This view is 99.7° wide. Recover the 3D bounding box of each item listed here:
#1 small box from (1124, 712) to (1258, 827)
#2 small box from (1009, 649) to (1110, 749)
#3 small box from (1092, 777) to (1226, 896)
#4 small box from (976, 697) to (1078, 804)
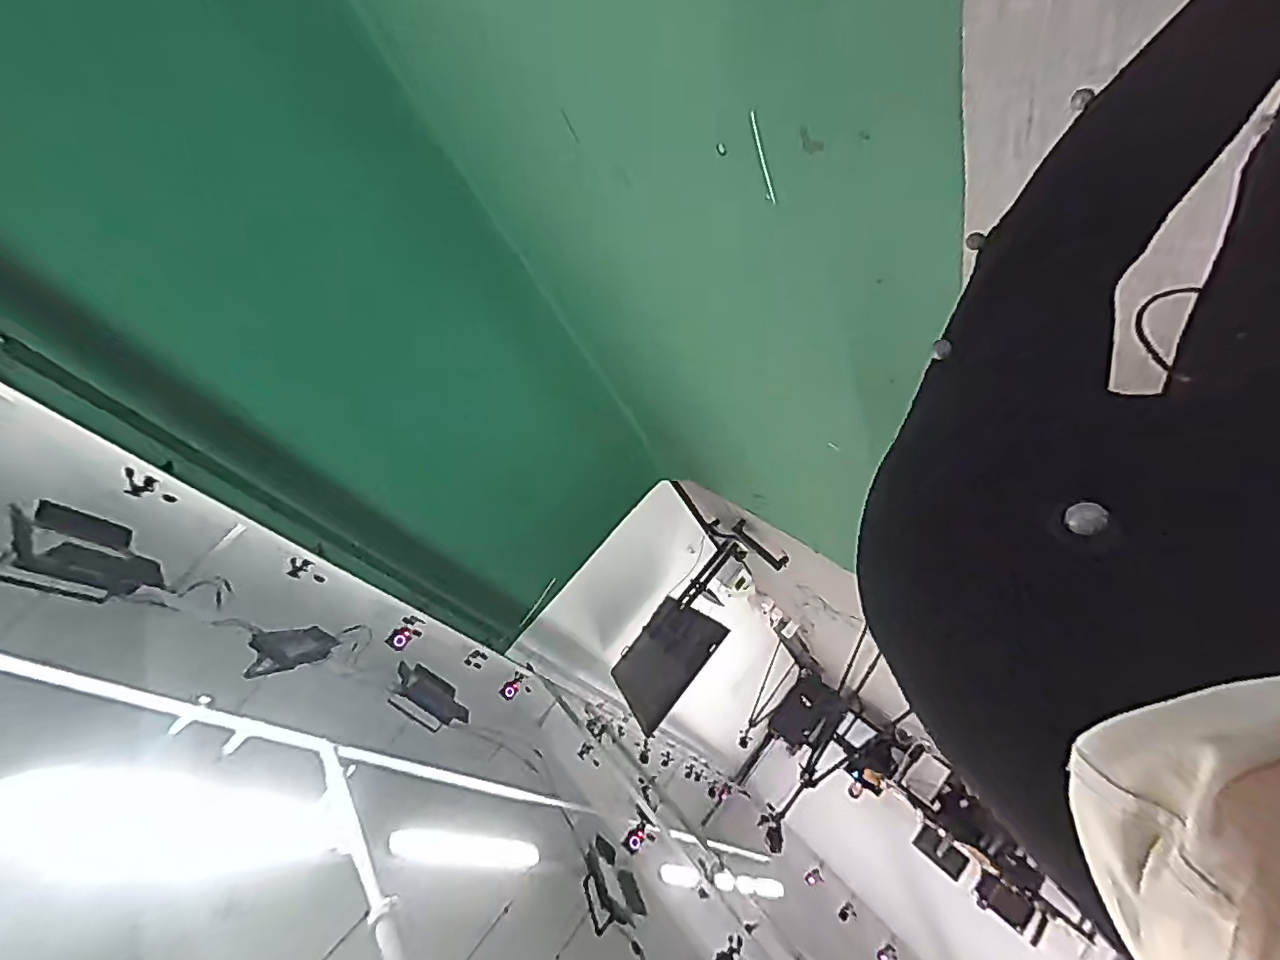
[{"bbox_3d":[1.301,0.689,1.283,0.168,0.176,0.179,30,163,45],"label":"small box"},{"bbox_3d":[1.134,0.594,1.466,0.168,0.176,0.179,29,163,46],"label":"small box"},{"bbox_3d":[1.211,0.829,1.267,0.168,0.176,0.179,32,165,41],"label":"small box"},{"bbox_3d":[1.027,0.715,1.435,0.168,0.176,0.179,28,163,47],"label":"small box"}]
